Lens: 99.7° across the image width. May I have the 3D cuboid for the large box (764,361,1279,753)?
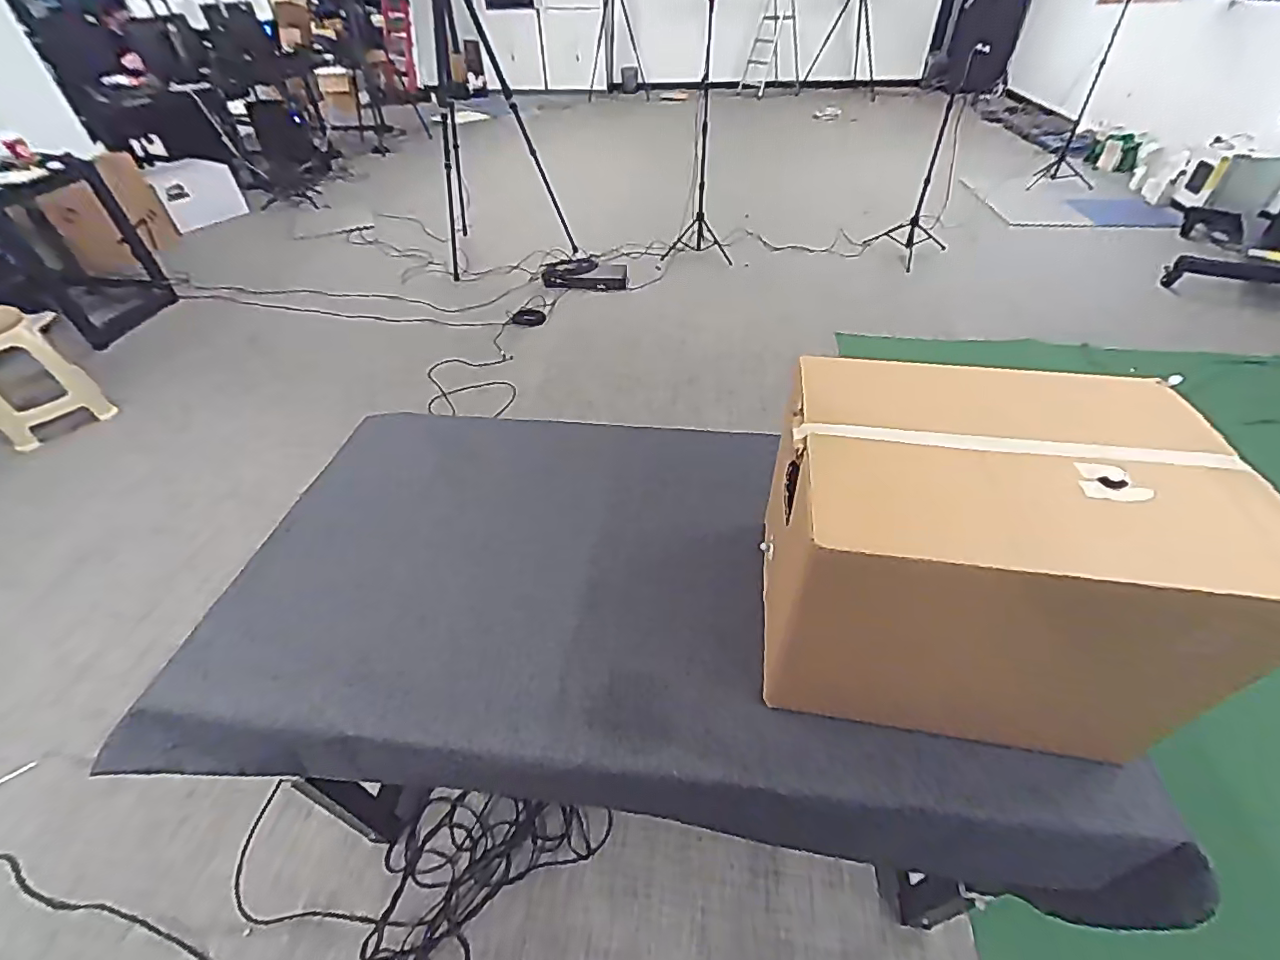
[{"bbox_3d":[0.372,0.082,0.640,0.408,0.320,0.320,6,44,7],"label":"large box"}]
